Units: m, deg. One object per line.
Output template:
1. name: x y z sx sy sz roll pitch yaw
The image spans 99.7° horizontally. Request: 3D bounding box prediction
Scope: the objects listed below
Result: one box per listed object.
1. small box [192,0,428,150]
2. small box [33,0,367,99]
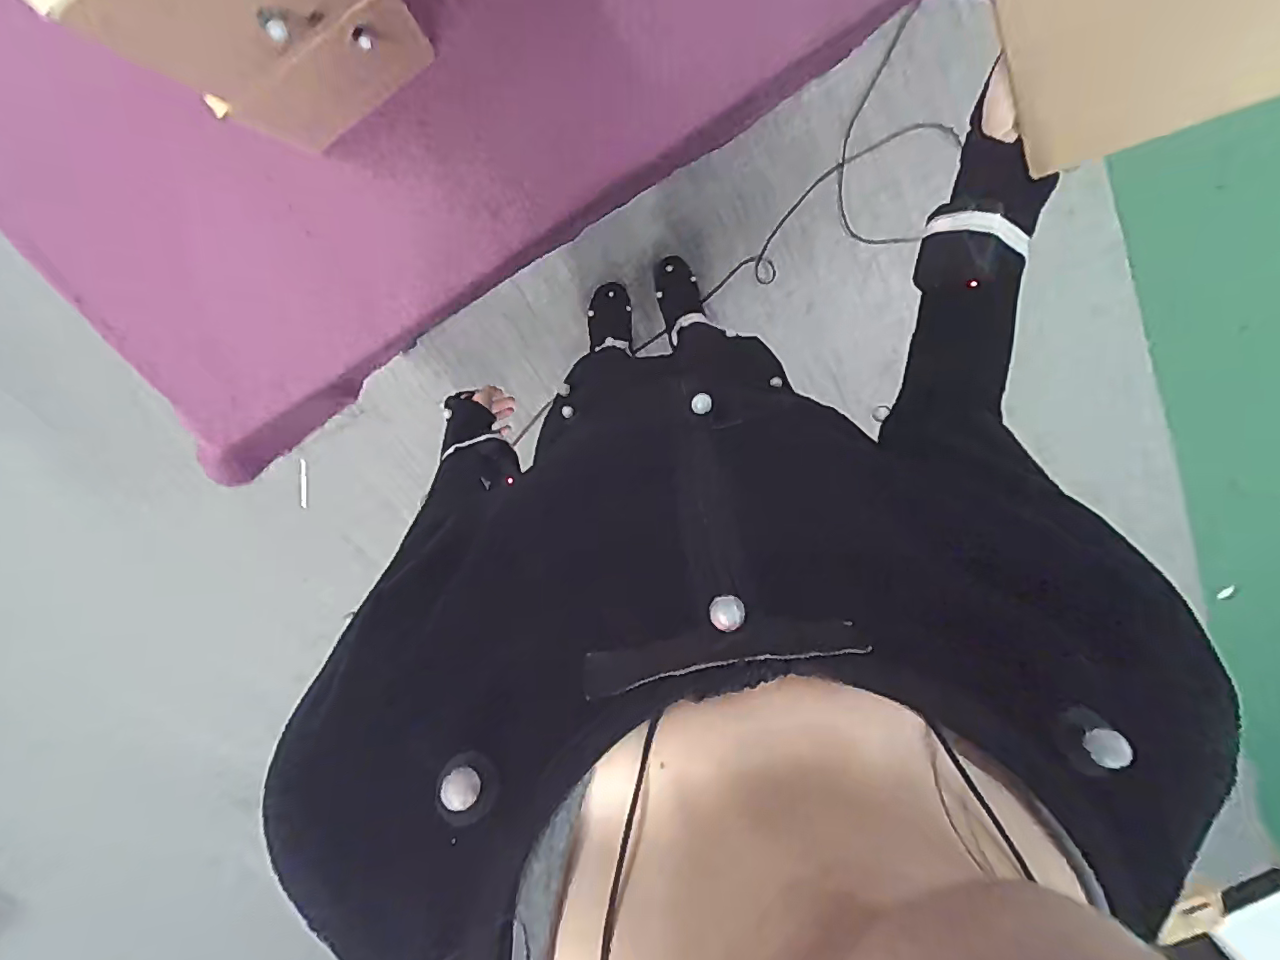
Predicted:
1. small box: -0.328 -0.441 0.492 0.179 0.176 0.168 -34 110 7
2. small box: -0.311 -0.390 0.336 0.168 0.176 0.179 -33 110 7
